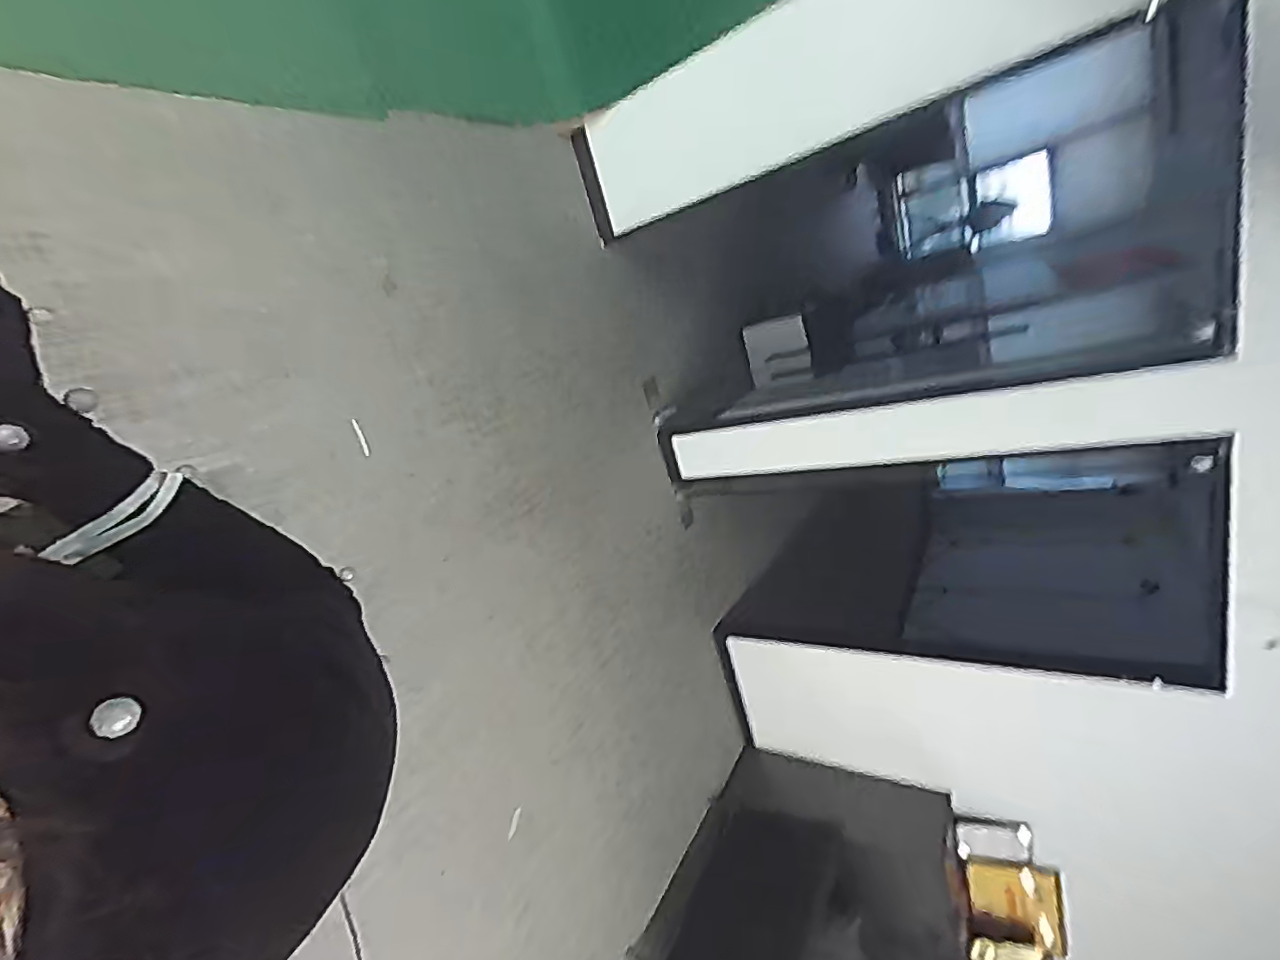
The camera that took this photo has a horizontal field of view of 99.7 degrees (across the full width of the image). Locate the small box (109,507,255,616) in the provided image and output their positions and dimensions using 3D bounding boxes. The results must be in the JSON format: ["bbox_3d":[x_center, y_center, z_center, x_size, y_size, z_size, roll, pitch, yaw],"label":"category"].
[{"bbox_3d":[-0.980,0.169,1.153,0.179,0.176,0.168,-37,116,-49],"label":"small box"}]
